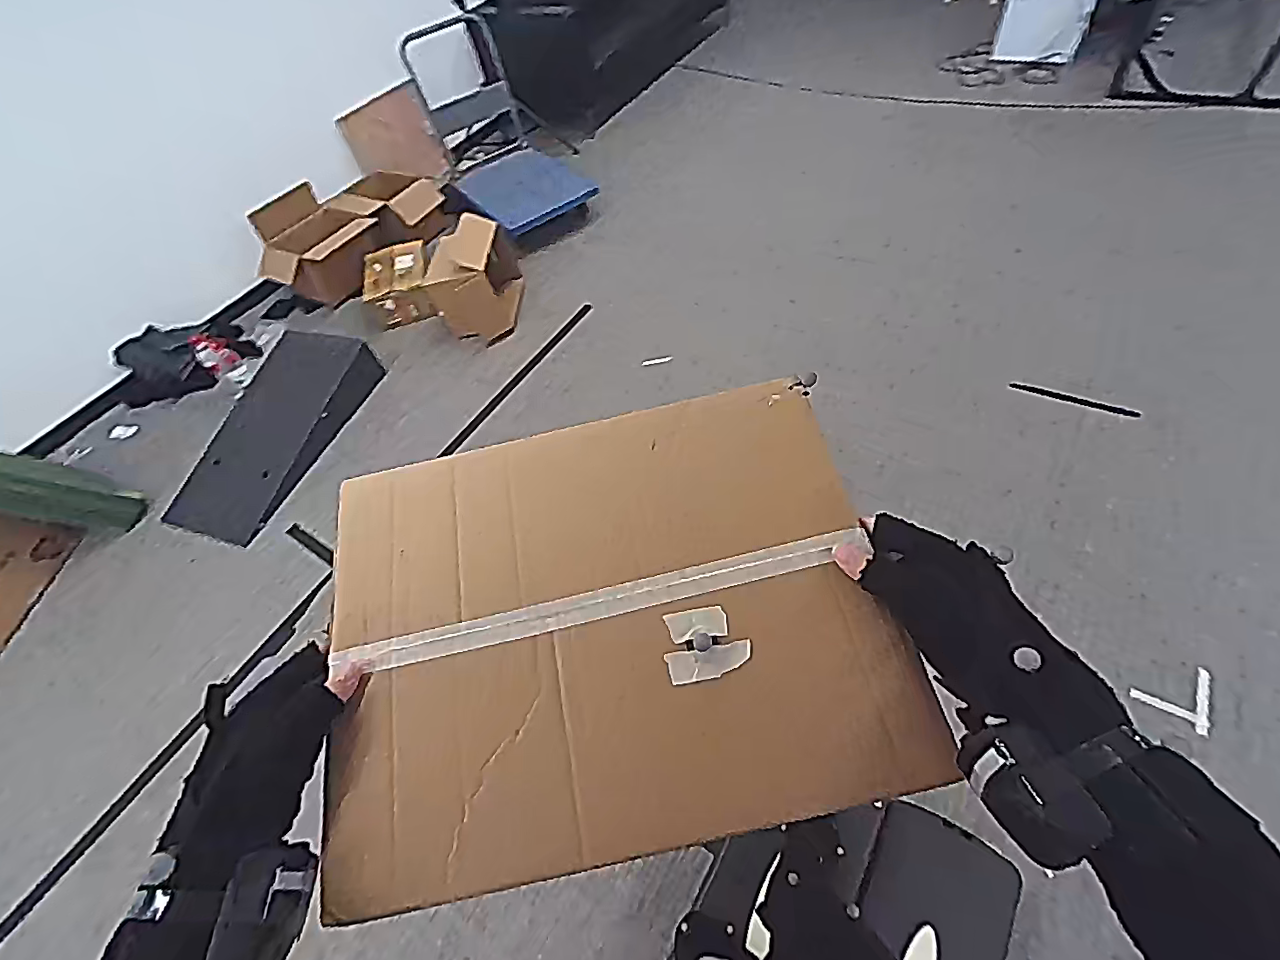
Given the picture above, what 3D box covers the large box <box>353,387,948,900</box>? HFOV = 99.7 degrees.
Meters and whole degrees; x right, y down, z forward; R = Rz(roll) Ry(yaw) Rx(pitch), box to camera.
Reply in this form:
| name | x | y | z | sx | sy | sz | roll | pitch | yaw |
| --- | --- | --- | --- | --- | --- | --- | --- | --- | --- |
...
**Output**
| name | x | y | z | sx | sy | sz | roll | pitch | yaw |
| --- | --- | --- | --- | --- | --- | --- | --- | --- | --- |
| large box | -0.008 | 0.159 | 0.546 | 0.408 | 0.320 | 0.320 | -13 | 64 | 0 |
